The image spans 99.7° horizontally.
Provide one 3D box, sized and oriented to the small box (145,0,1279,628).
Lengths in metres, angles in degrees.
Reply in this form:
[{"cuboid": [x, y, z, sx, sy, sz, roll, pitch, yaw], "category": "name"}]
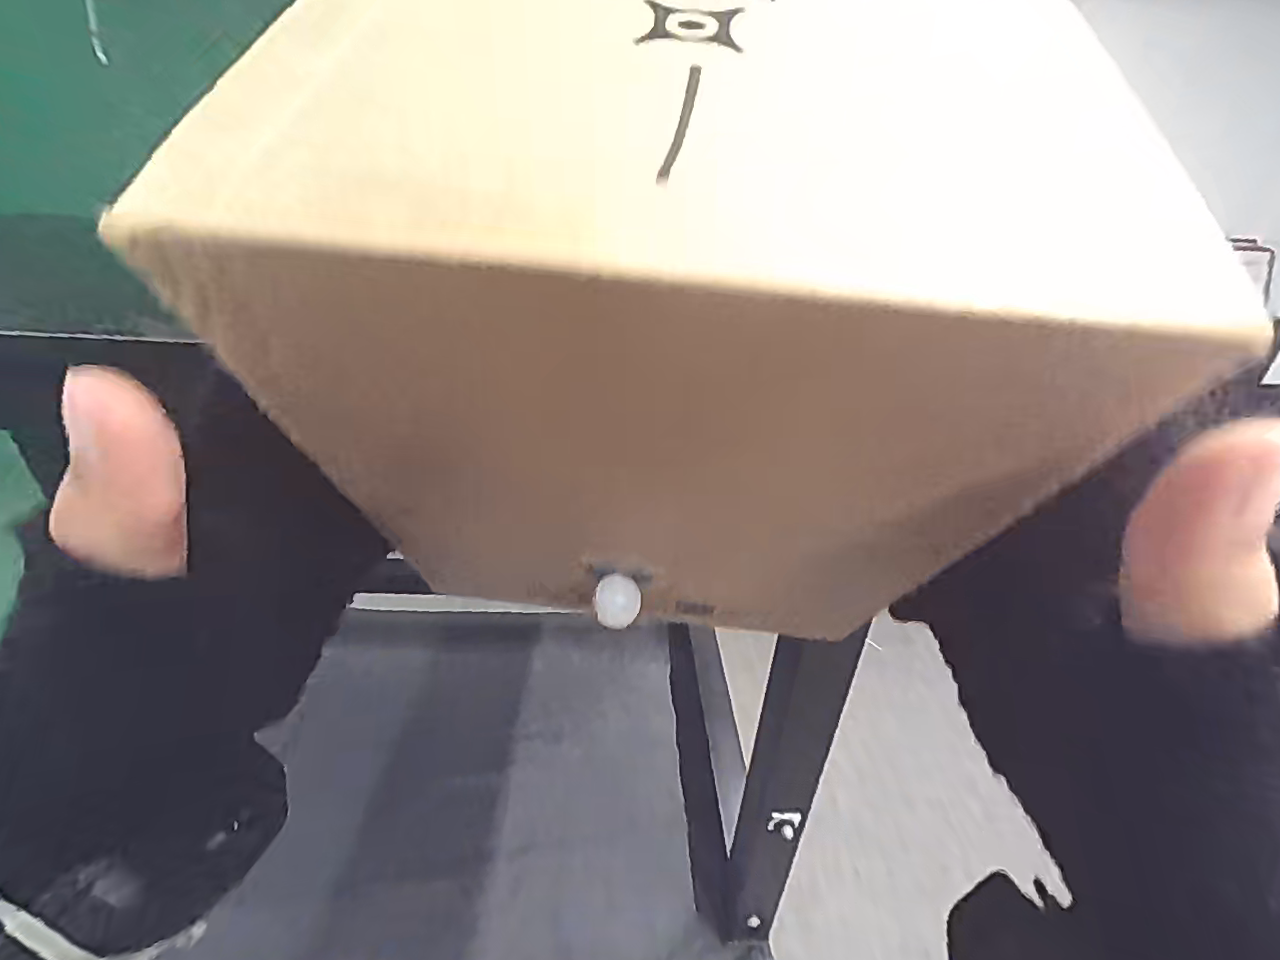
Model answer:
[{"cuboid": [0.015, -0.064, 0.186, 0.168, 0.176, 0.179, 7, 62, 2], "category": "small box"}]
